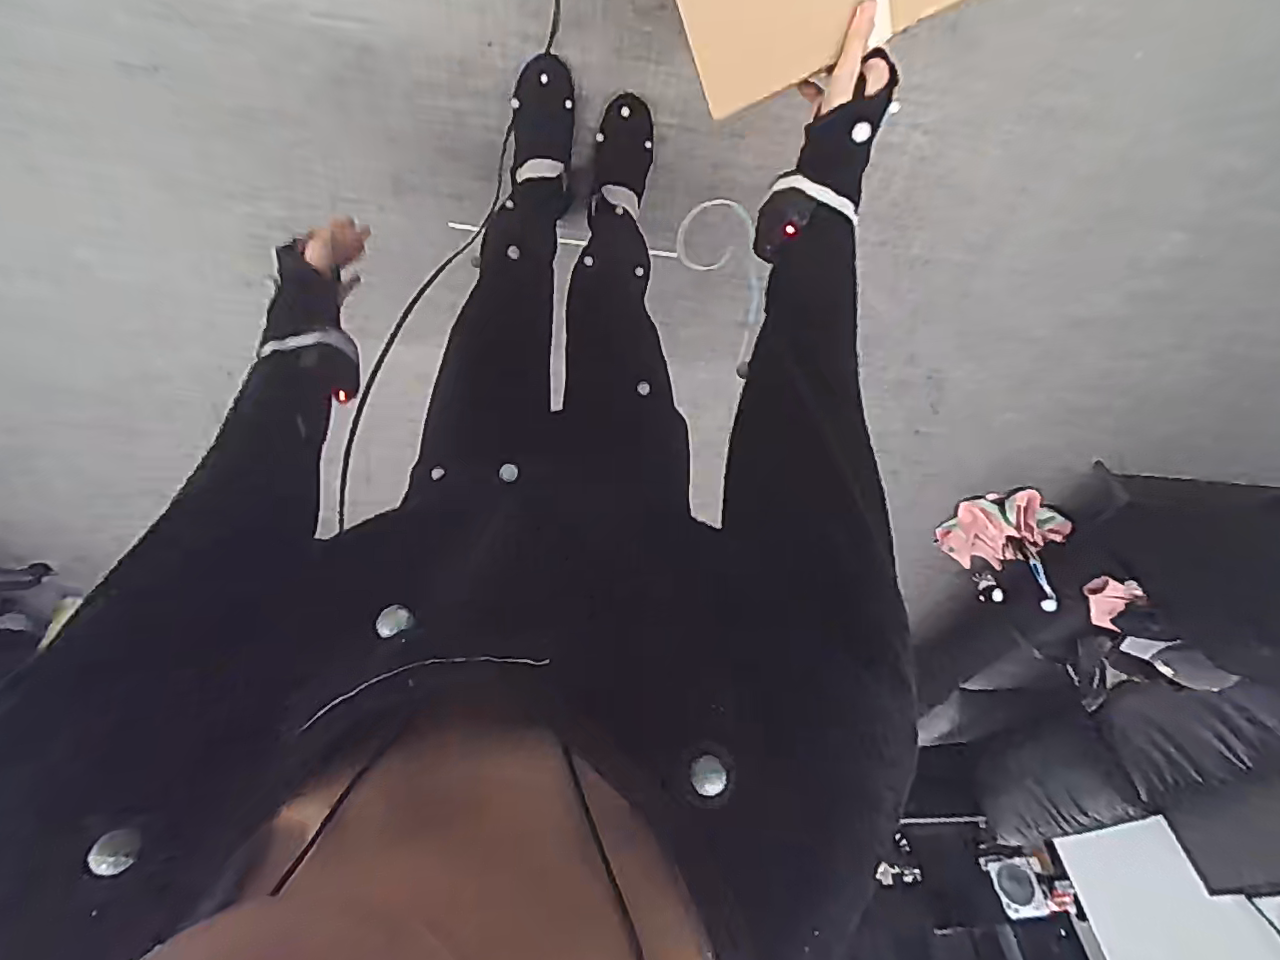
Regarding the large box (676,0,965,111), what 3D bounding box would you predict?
[{"bbox_3d":[0.165,-0.651,0.530,0.320,0.320,0.408,-13,120,18],"label":"large box"}]
